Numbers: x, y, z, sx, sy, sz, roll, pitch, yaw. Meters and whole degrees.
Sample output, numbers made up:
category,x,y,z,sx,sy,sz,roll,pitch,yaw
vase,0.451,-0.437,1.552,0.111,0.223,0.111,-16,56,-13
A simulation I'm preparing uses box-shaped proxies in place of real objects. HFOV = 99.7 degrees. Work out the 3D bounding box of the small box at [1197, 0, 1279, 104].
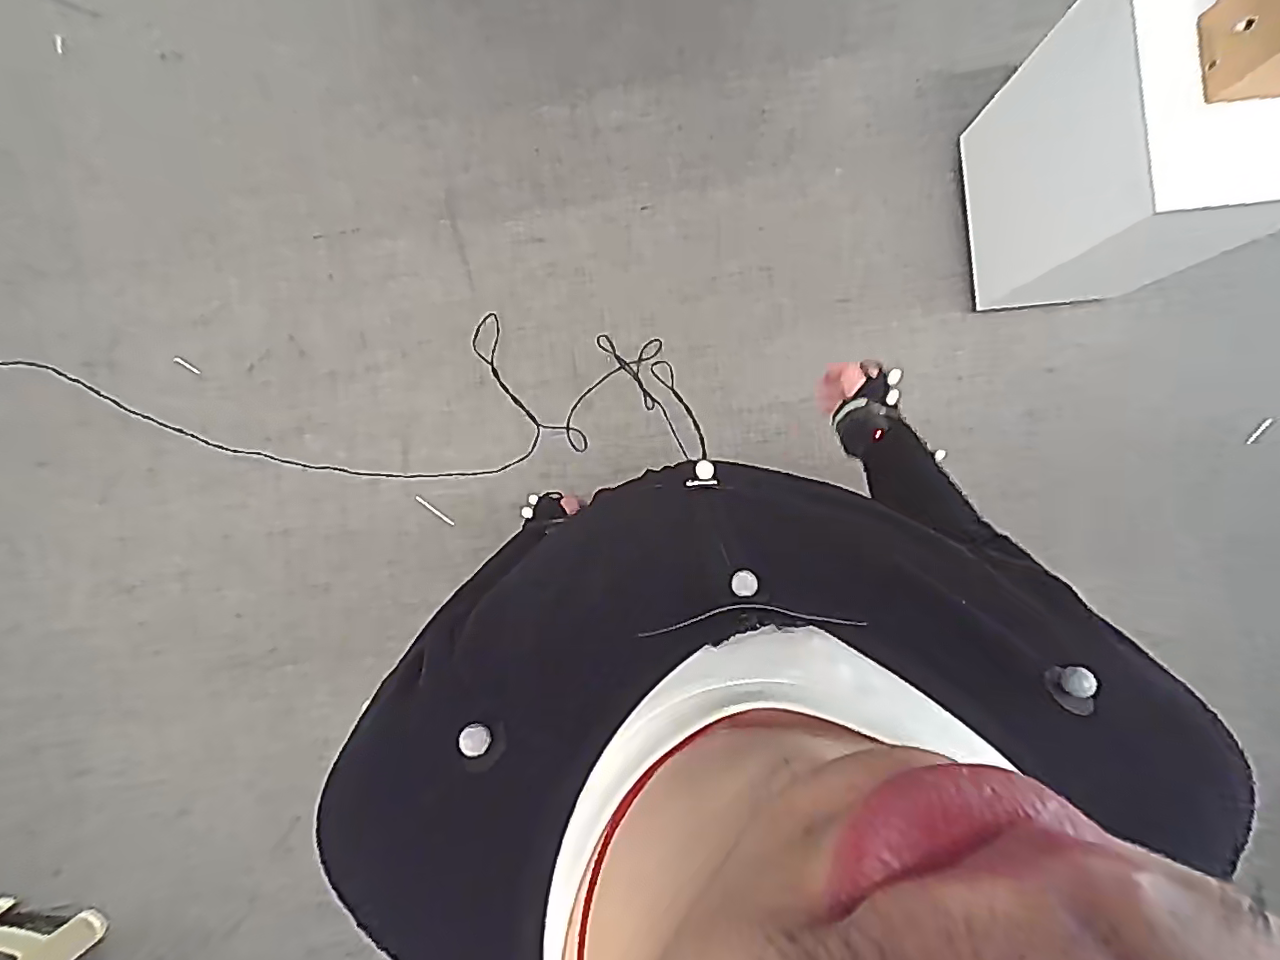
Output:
category,x,y,z,sx,sy,sz,roll,pitch,yaw
small box,1.108,-0.778,0.916,0.179,0.176,0.168,-7,88,0
